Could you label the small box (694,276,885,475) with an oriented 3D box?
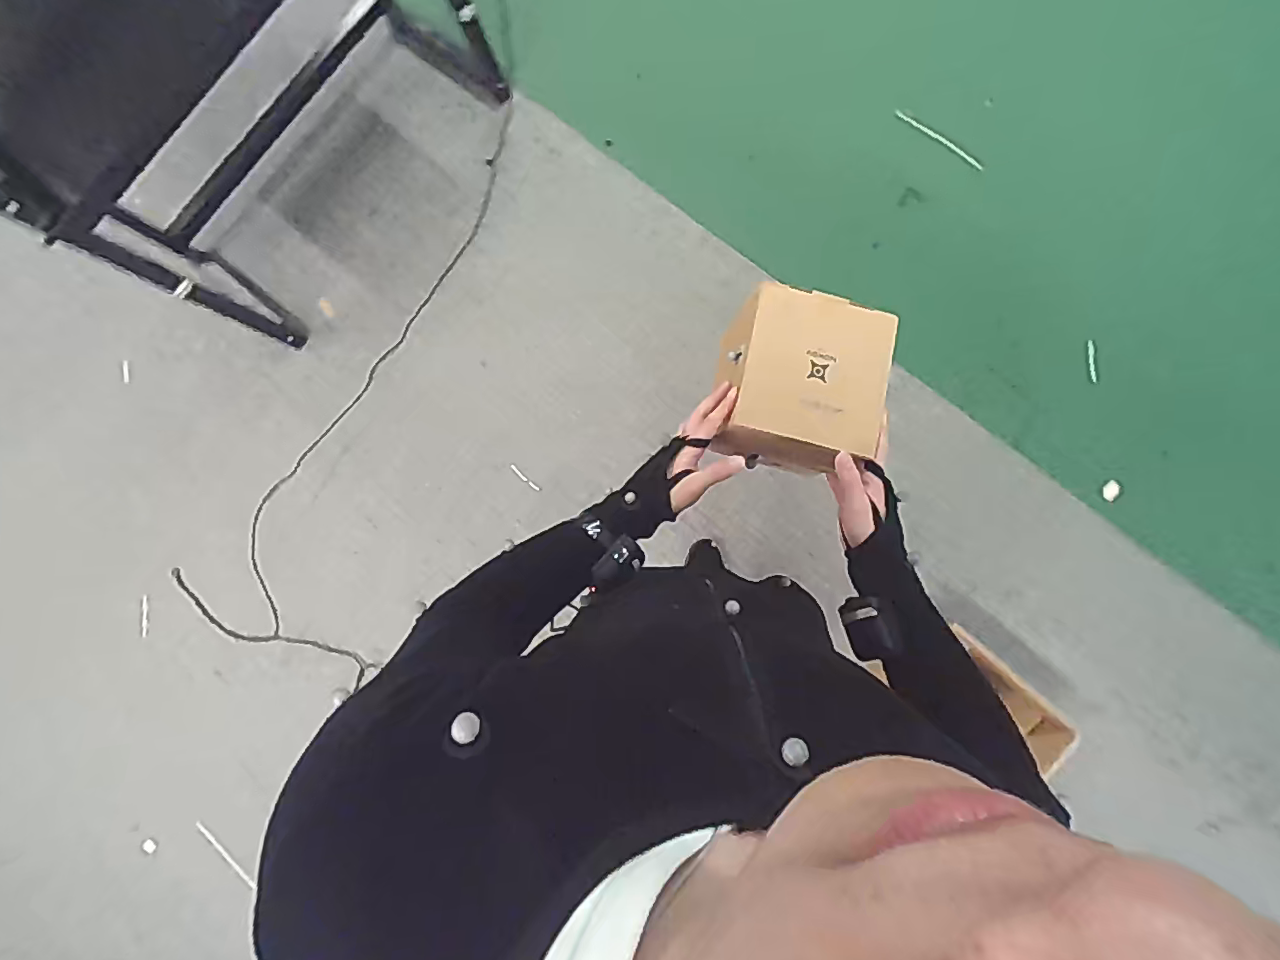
[{"bbox_3d":[0.174,-0.116,0.673,0.168,0.176,0.179,13,81,-4],"label":"small box"}]
